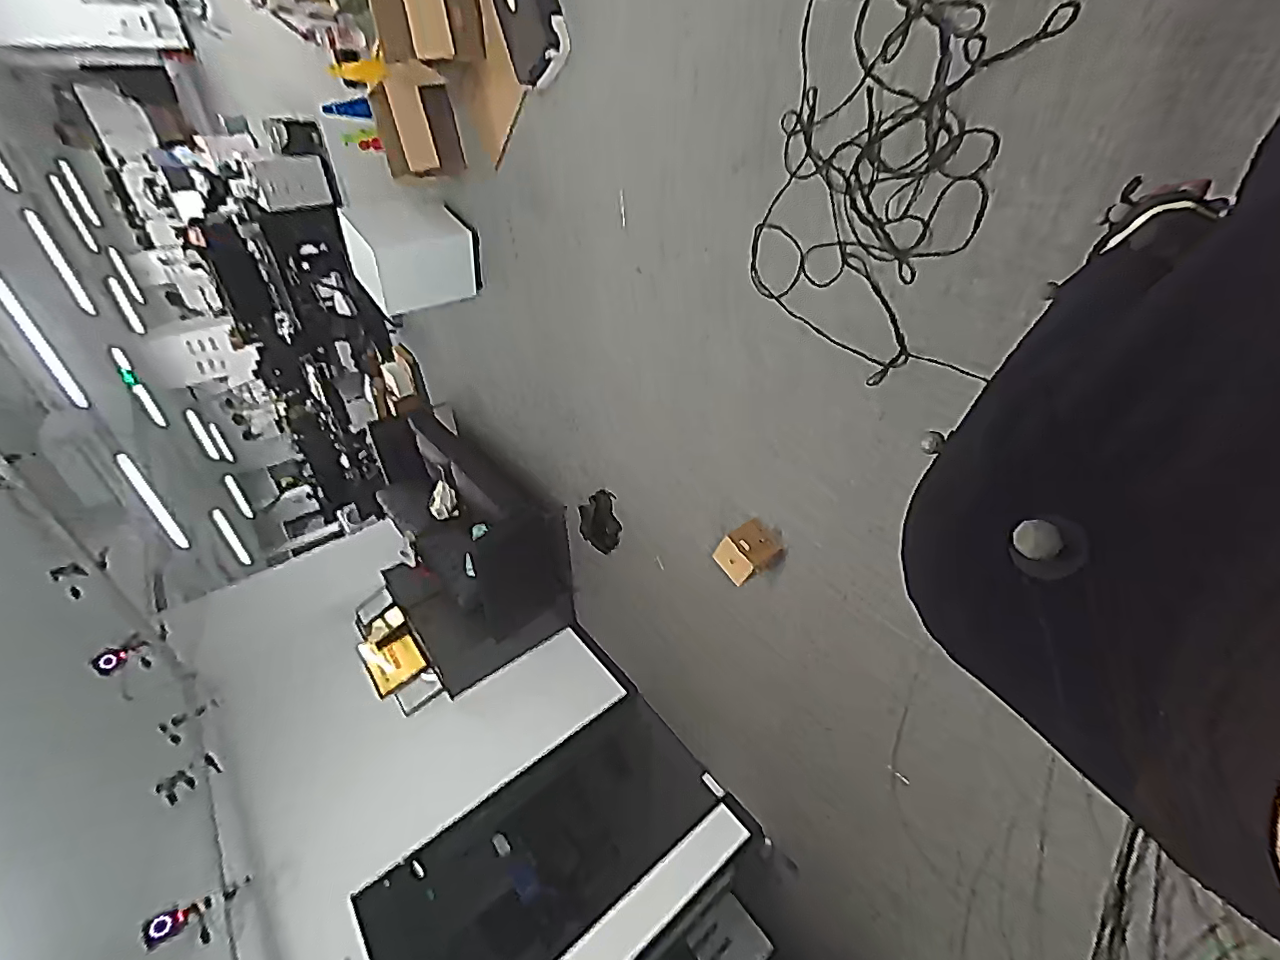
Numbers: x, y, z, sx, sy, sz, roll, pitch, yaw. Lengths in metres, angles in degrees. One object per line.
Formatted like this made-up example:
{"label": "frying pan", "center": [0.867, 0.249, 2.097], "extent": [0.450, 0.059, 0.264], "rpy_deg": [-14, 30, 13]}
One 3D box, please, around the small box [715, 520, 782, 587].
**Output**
{"label": "small box", "center": [0.435, 0.290, 2.155], "extent": [0.168, 0.176, 0.179], "rpy_deg": [50, 147, 23]}
